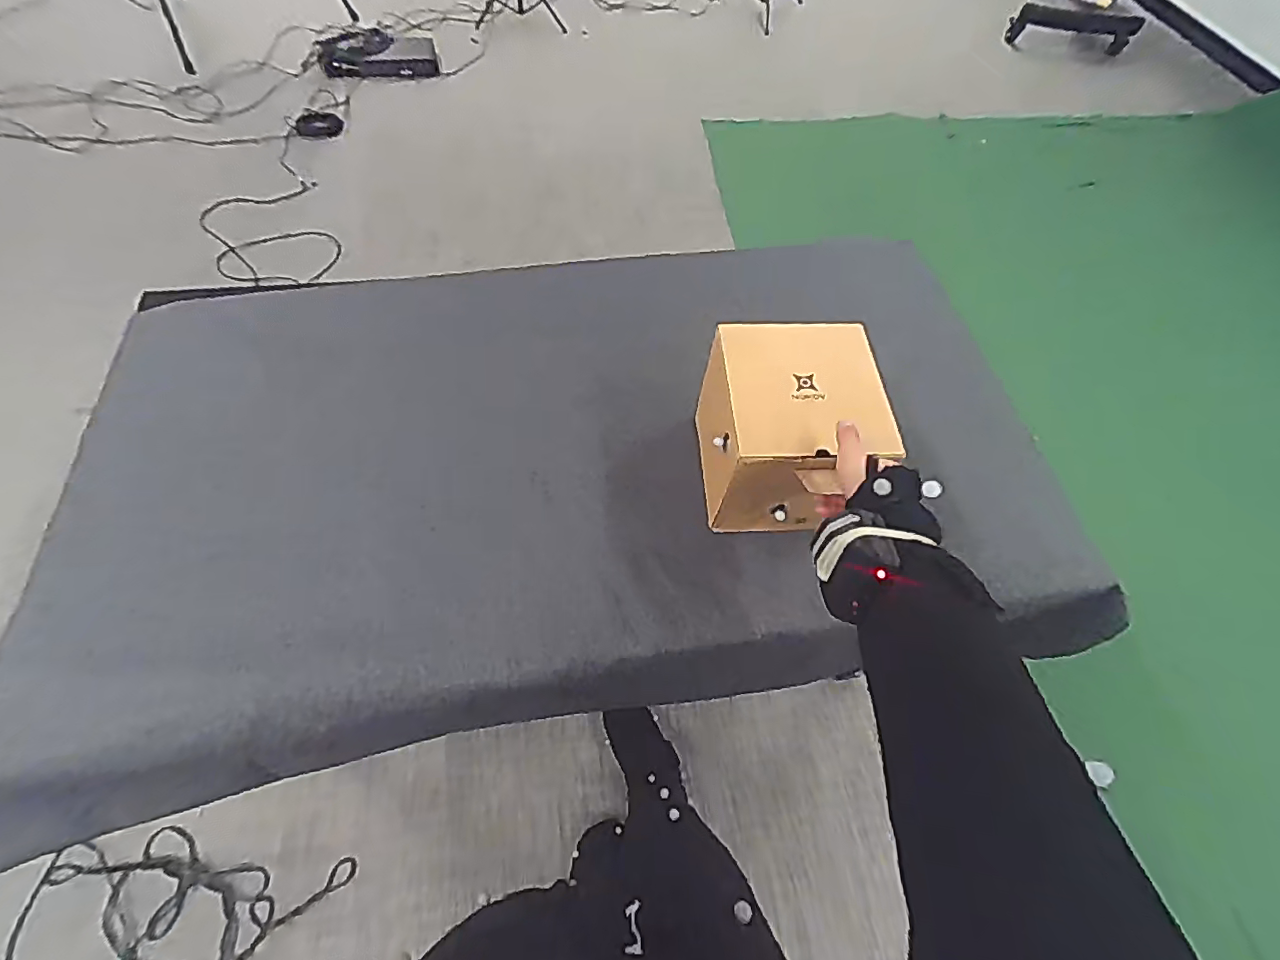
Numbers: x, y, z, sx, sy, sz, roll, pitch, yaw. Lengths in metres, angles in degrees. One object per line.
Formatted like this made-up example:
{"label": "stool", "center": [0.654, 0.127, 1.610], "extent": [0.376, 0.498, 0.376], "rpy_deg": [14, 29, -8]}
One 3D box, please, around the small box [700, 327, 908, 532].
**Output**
{"label": "small box", "center": [0.168, -0.053, 0.625], "extent": [0.168, 0.176, 0.179], "rpy_deg": [-1, 61, -5]}
